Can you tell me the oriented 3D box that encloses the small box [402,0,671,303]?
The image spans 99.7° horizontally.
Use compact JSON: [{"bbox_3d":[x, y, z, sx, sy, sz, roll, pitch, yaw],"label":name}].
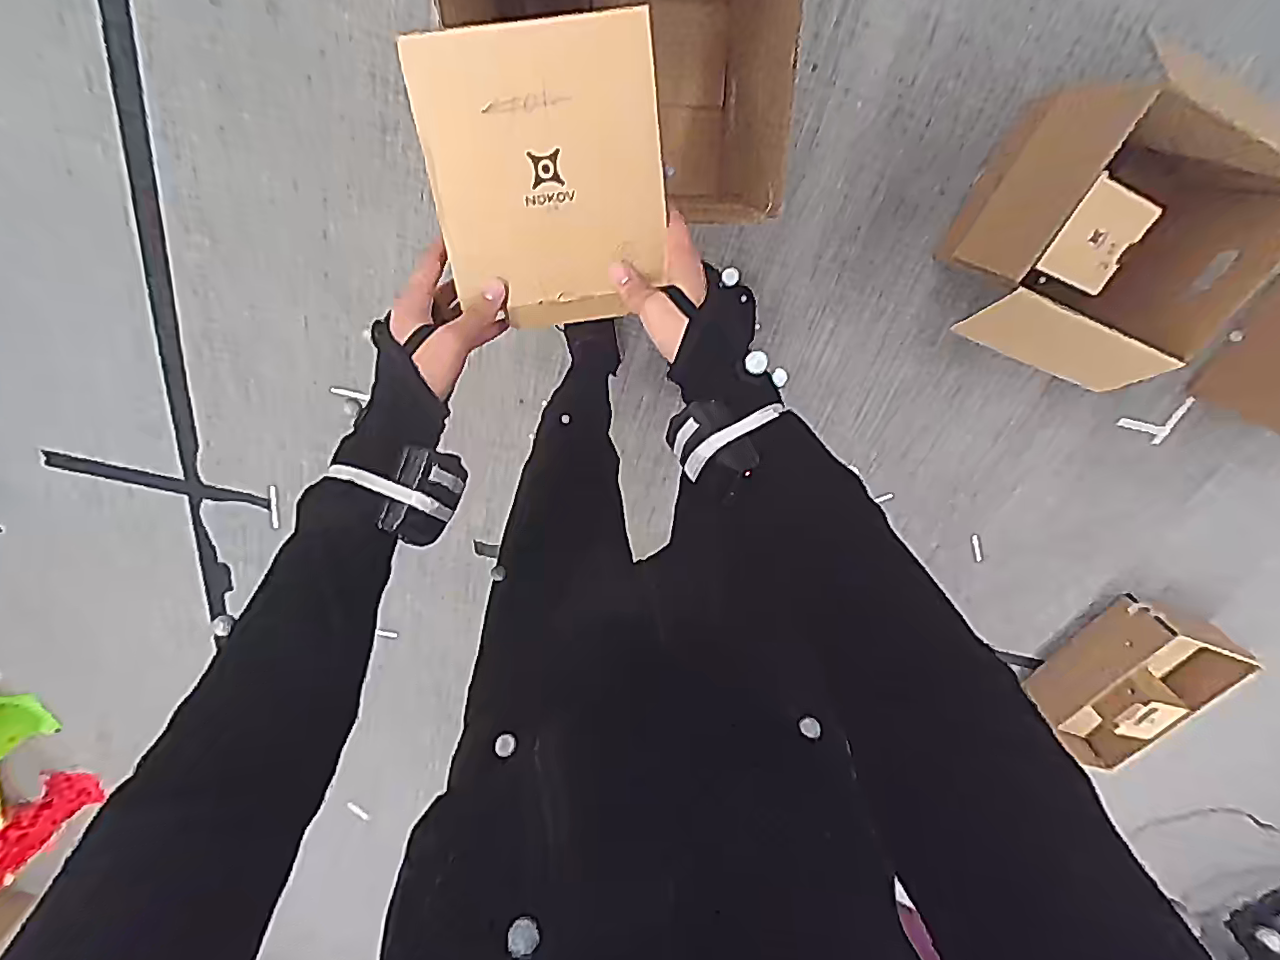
[{"bbox_3d":[-0.069,-0.258,0.453,0.168,0.176,0.179,-8,115,-2],"label":"small box"}]
